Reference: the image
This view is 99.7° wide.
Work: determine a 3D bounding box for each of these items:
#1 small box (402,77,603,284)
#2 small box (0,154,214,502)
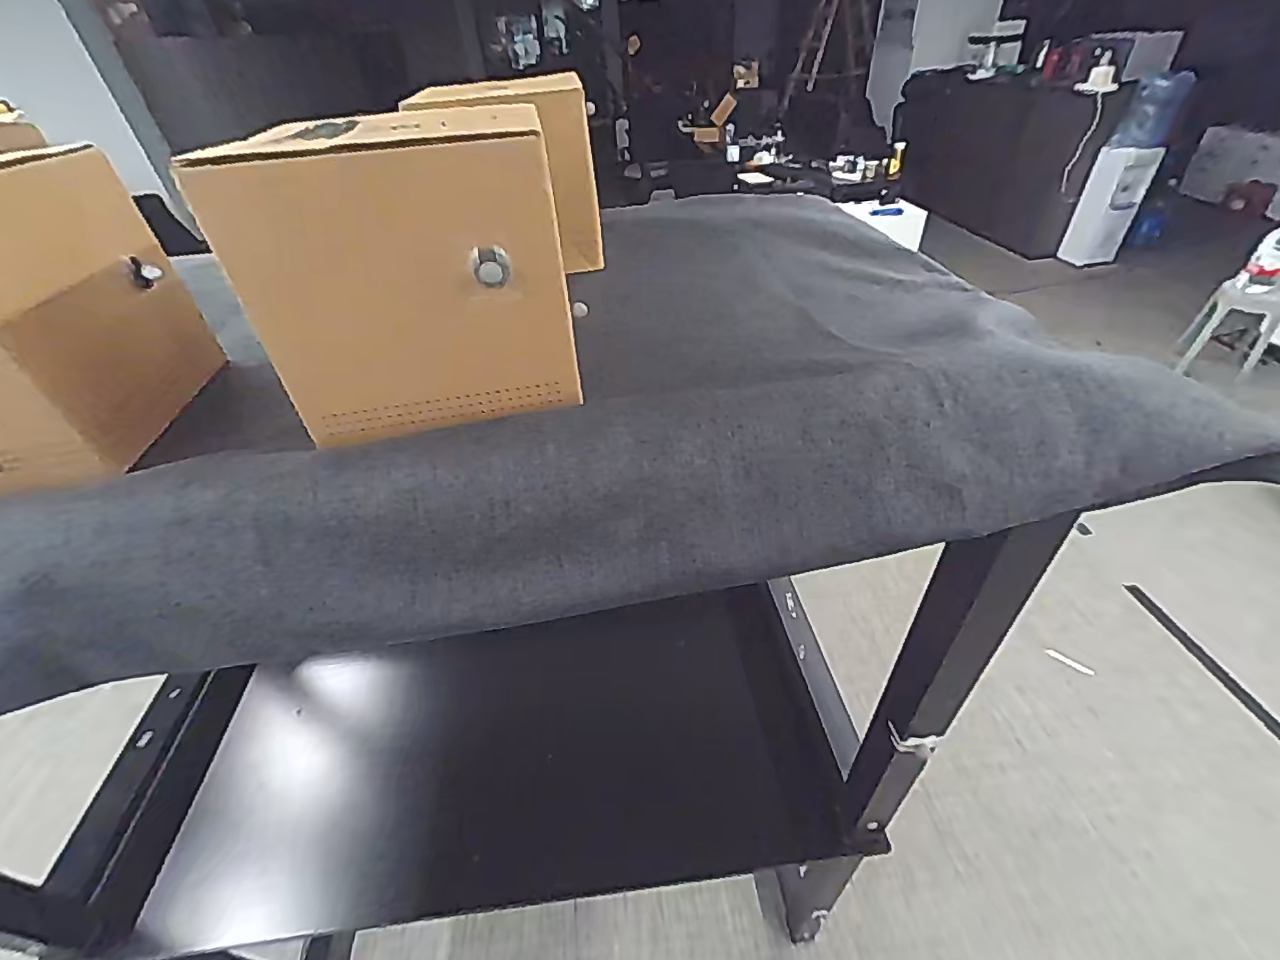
[{"bbox_3d":[-0.135,-0.325,0.595,0.168,0.176,0.179,-8,40,-3],"label":"small box"},{"bbox_3d":[-0.429,-0.098,0.351,0.168,0.176,0.179,-10,39,-5],"label":"small box"}]
